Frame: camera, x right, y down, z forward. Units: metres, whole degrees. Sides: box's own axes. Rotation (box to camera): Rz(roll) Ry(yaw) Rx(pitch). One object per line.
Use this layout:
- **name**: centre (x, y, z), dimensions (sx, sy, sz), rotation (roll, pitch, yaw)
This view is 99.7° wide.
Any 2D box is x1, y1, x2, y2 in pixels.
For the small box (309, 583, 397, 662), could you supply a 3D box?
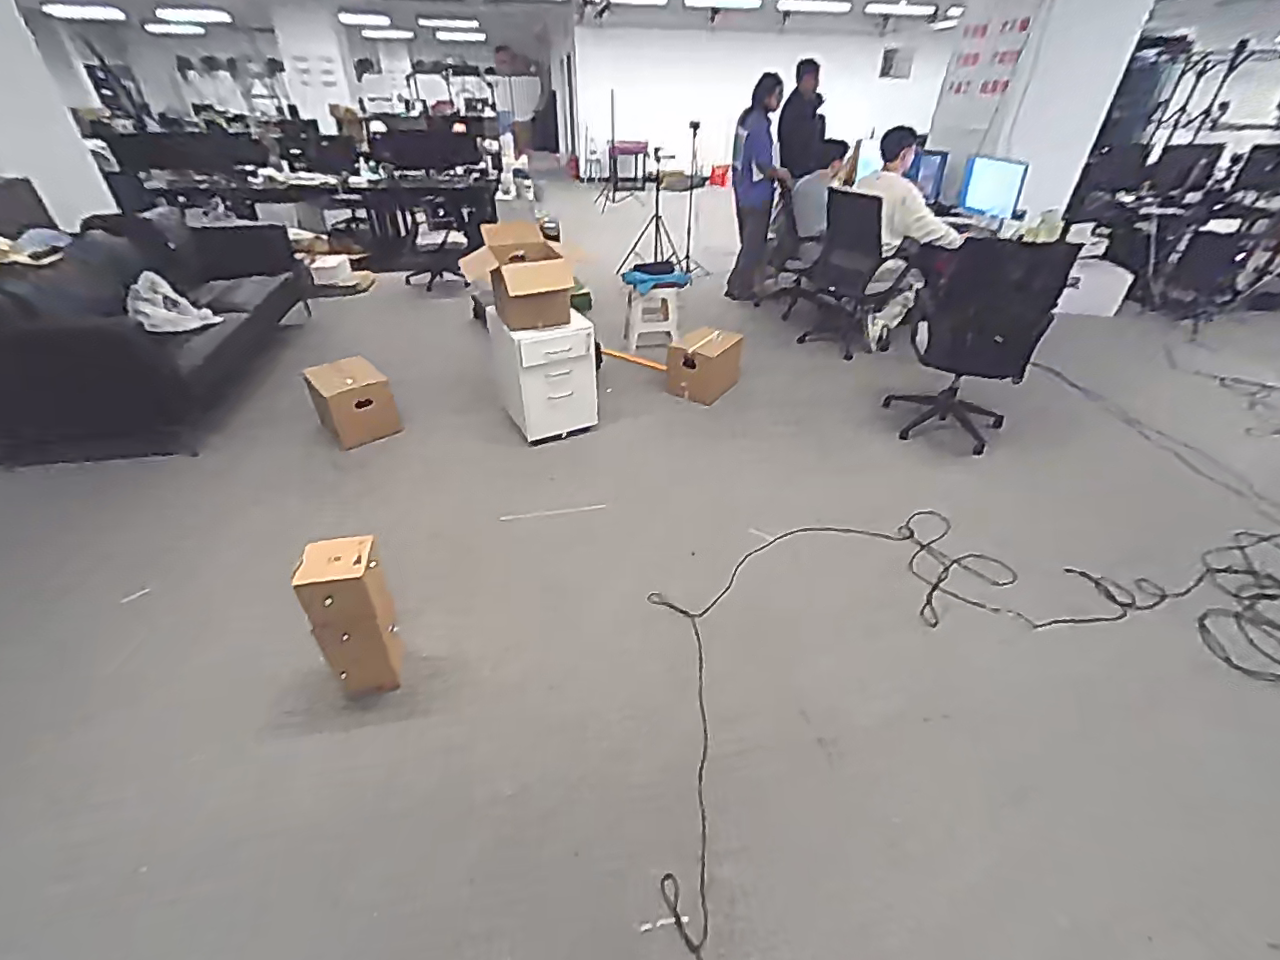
- **small box**: centre (-0.840, 0.418, 1.600), dimensions (0.179, 0.176, 0.168), rotation (-6, 37, -11)

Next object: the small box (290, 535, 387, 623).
- **small box**: centre (-0.833, 0.279, 1.512), dimensions (0.179, 0.176, 0.168), rotation (-7, 37, -10)
